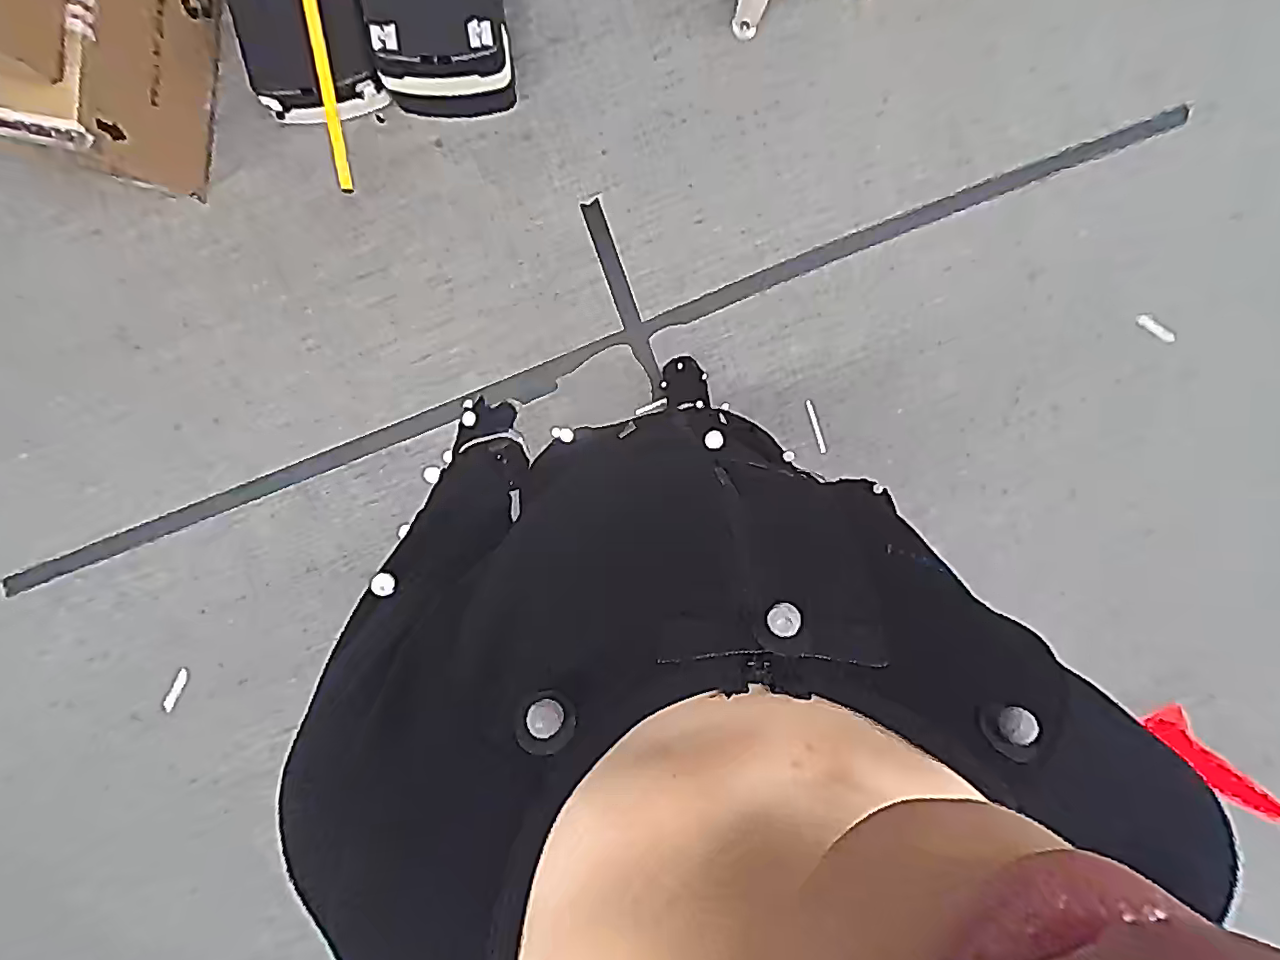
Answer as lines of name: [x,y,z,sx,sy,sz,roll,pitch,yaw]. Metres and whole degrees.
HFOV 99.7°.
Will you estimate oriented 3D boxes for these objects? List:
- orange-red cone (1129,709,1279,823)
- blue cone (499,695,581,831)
orange-red cone: [1.670,0.861,1.545,0.198,0.360,0.199,-25,98,-1]
blue cone: [-0.277,0.745,1.381,0.192,0.380,0.193,-26,99,0]
